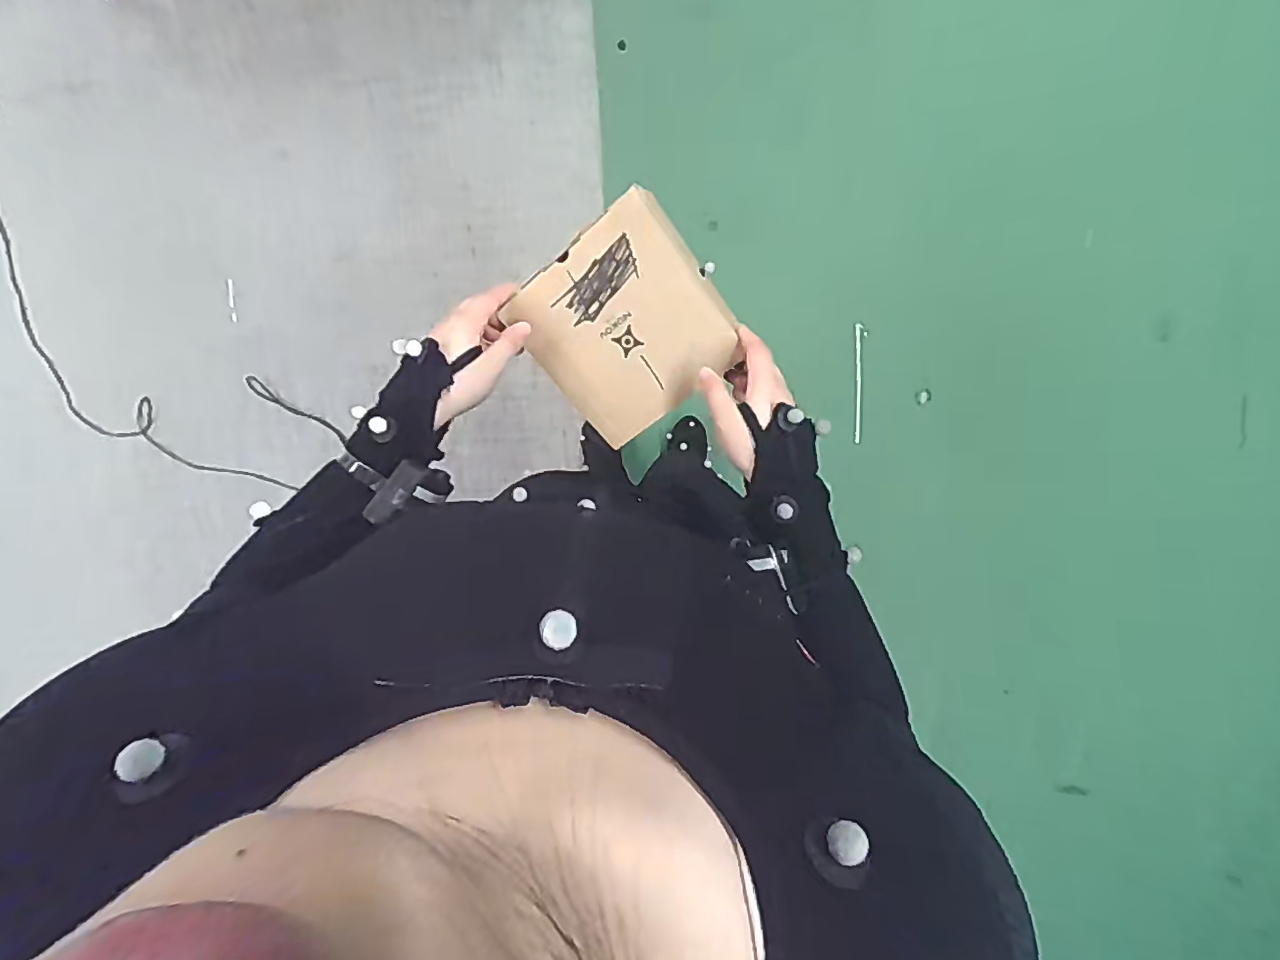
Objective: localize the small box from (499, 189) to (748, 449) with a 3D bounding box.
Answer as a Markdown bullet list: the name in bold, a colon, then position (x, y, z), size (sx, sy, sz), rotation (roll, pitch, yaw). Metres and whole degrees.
- **small box**: position (-0.010, -0.169, 0.566), size (0.168, 0.176, 0.179), rotation (-34, 109, 20)
